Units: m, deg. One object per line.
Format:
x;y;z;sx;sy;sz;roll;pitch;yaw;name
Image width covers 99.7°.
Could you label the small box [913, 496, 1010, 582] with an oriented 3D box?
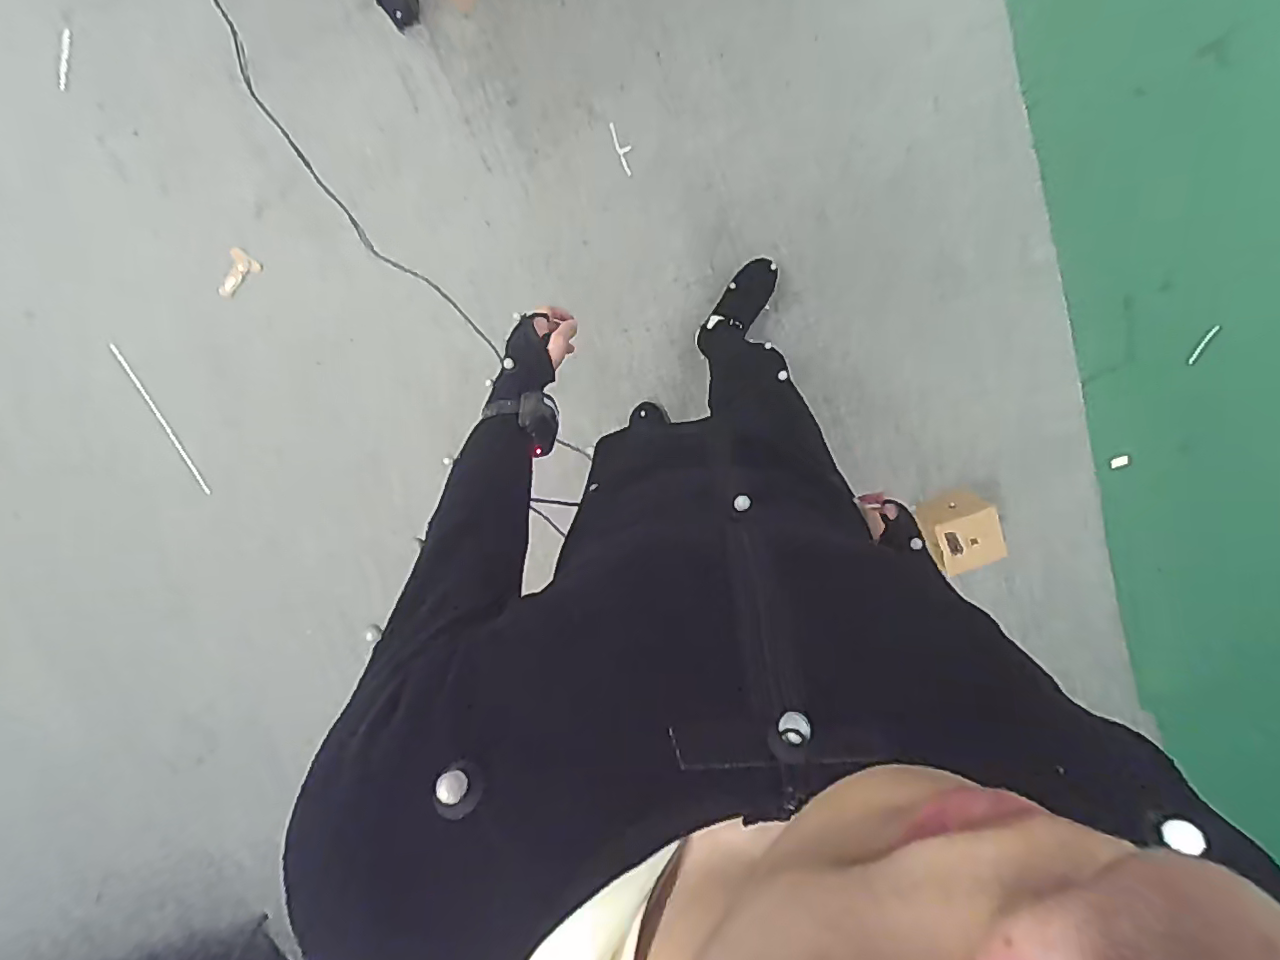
0.917;0.166;1.563;0.179;0.176;0.168;-22;104;4;small box
